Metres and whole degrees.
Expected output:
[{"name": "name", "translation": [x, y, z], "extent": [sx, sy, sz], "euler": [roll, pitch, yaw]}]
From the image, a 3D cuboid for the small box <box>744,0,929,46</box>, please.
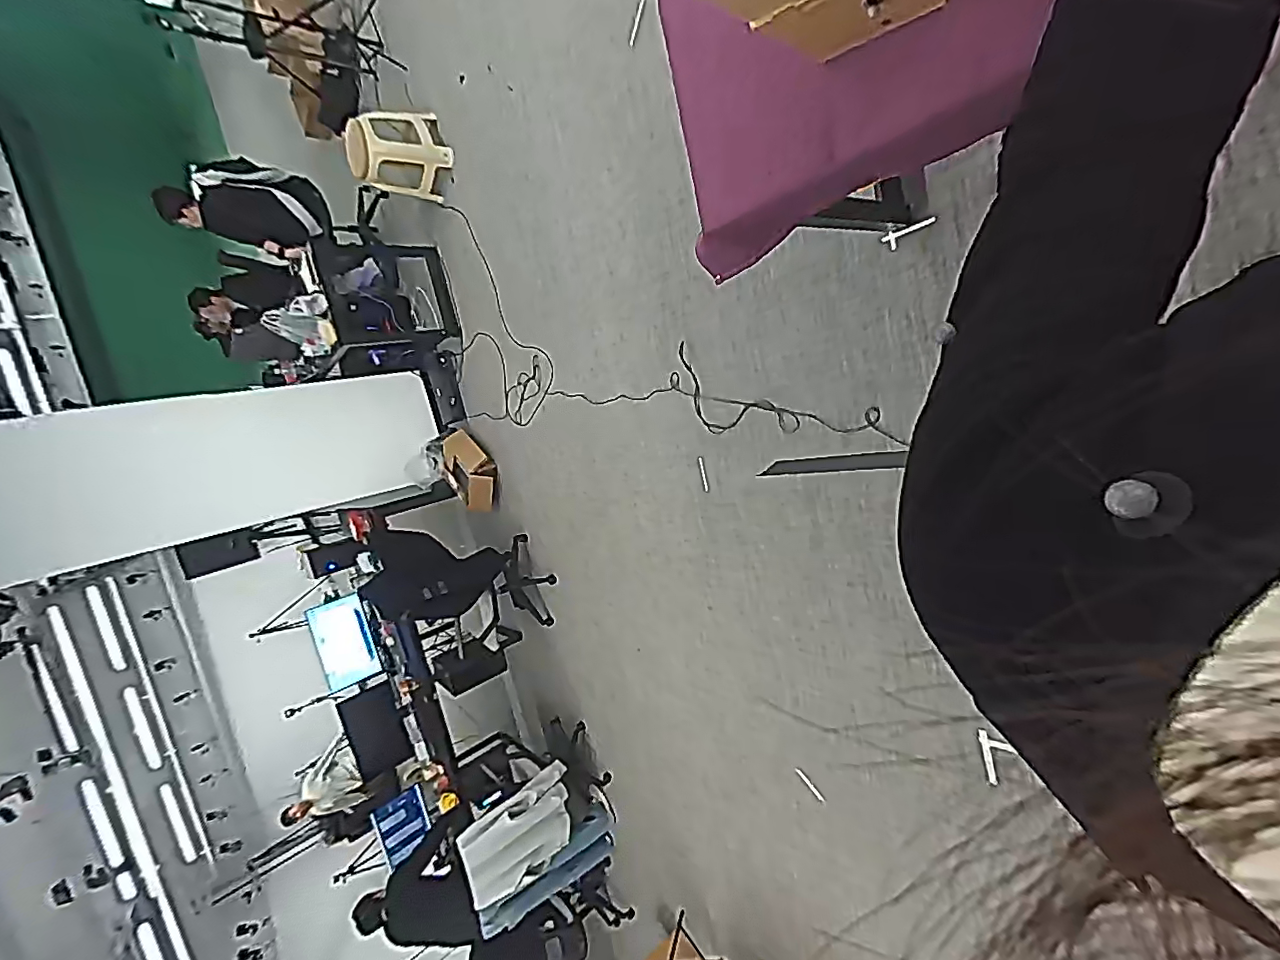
[{"name": "small box", "translation": [0.233, -0.637, 0.620], "extent": [0.168, 0.176, 0.179], "euler": [13, 114, 47]}]
